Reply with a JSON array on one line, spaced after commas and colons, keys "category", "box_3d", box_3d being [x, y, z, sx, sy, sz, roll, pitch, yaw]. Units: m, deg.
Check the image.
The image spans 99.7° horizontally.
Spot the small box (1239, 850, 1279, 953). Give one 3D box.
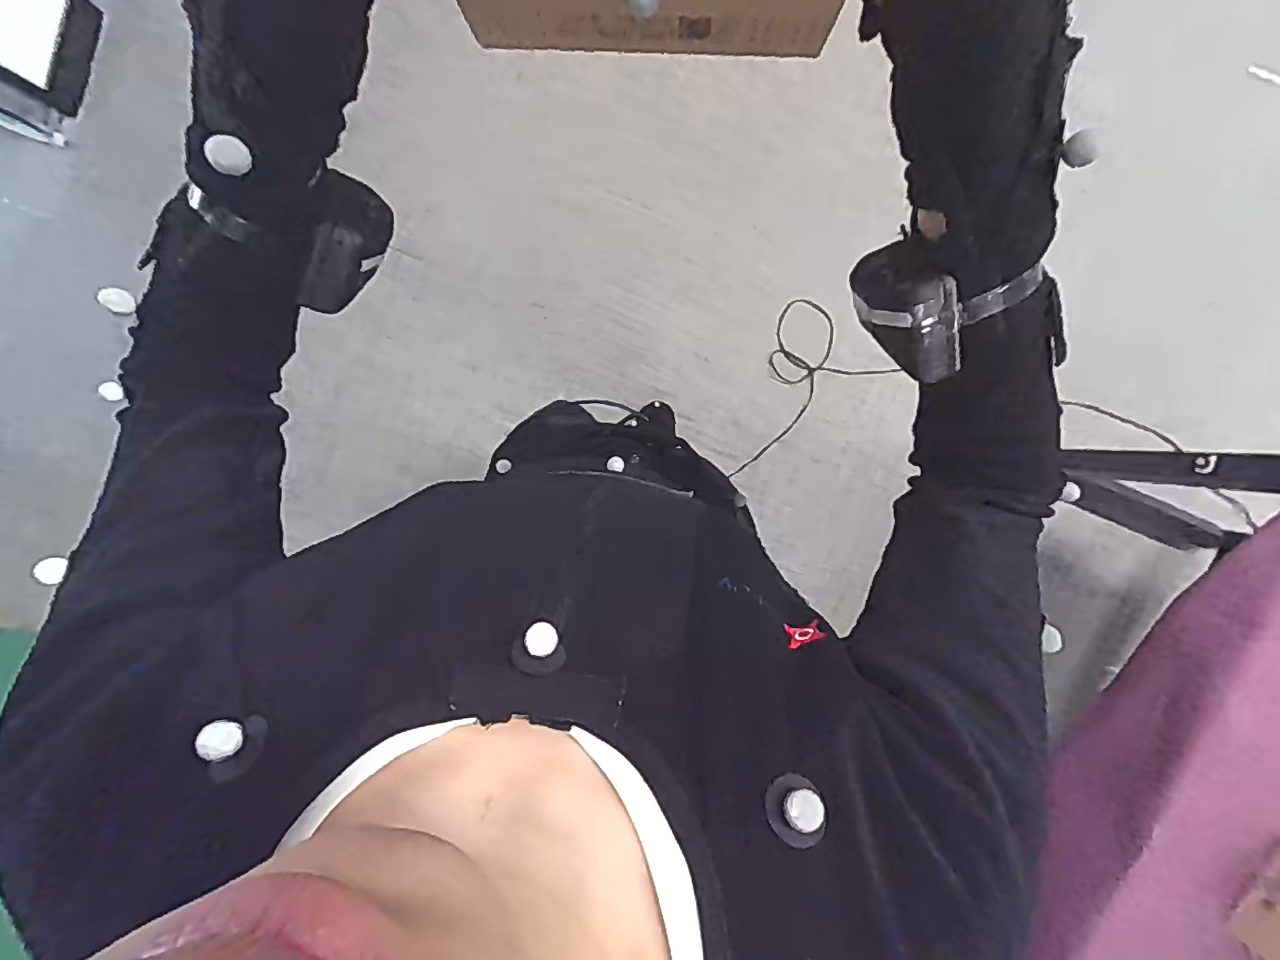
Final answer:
[{"category": "small box", "box_3d": [0.942, 0.586, 0.671, 0.179, 0.176, 0.168, 27, 94, 0]}]
